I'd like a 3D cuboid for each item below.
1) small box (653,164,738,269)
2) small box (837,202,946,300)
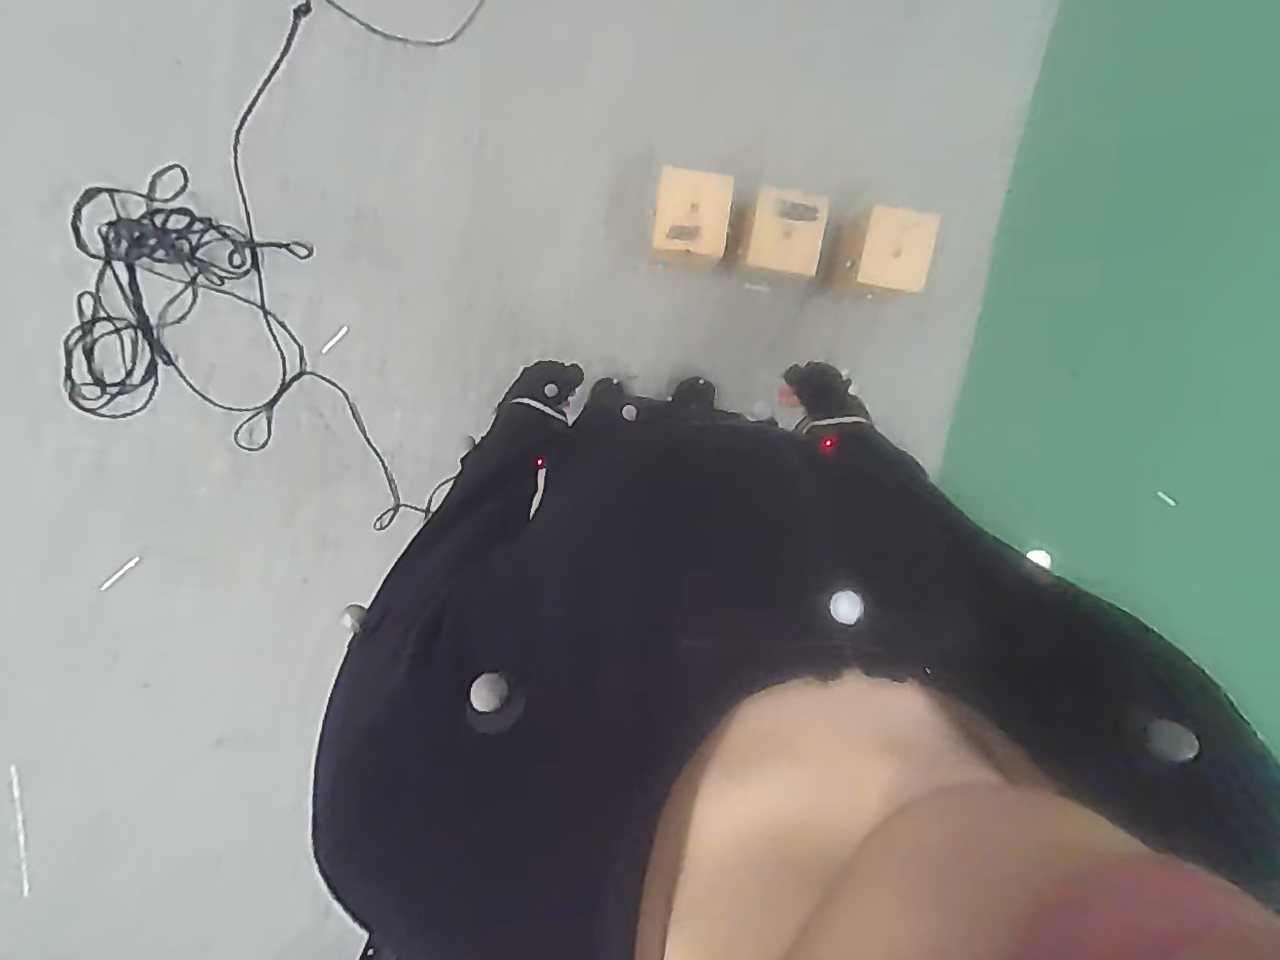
[{"bbox_3d":[0.124,-0.613,1.282,0.168,0.176,0.179,7,99,-3],"label":"small box"},{"bbox_3d":[0.600,-0.546,1.314,0.168,0.176,0.179,8,100,-4],"label":"small box"}]
